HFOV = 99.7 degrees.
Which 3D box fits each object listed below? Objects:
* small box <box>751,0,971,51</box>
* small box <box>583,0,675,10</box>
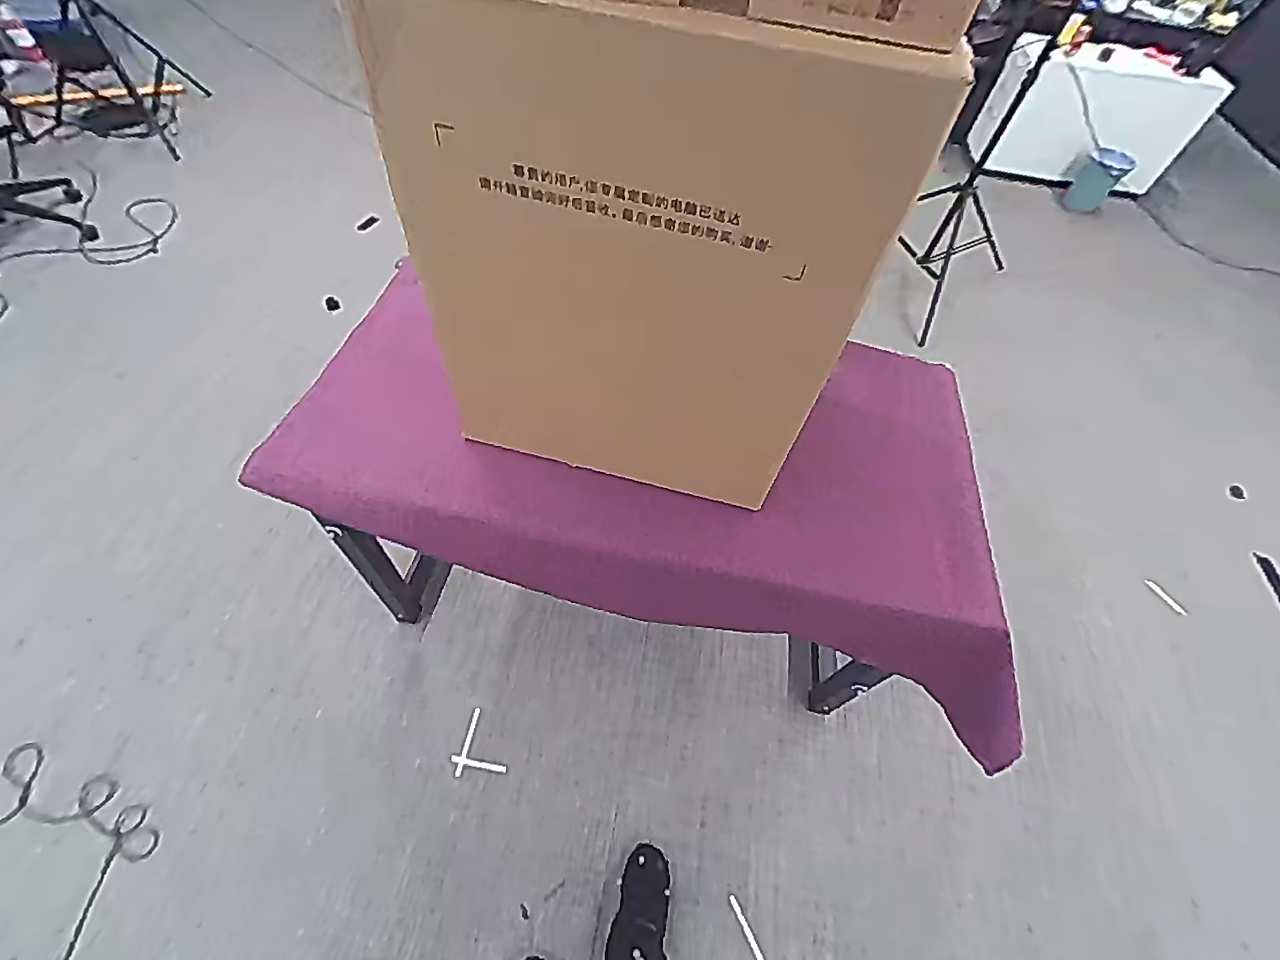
[{"bbox_3d":[0.189,-0.460,0.408,0.168,0.176,0.179,14,56,4],"label":"small box"},{"bbox_3d":[-0.041,-0.496,0.414,0.168,0.176,0.179,4,55,-5],"label":"small box"}]
